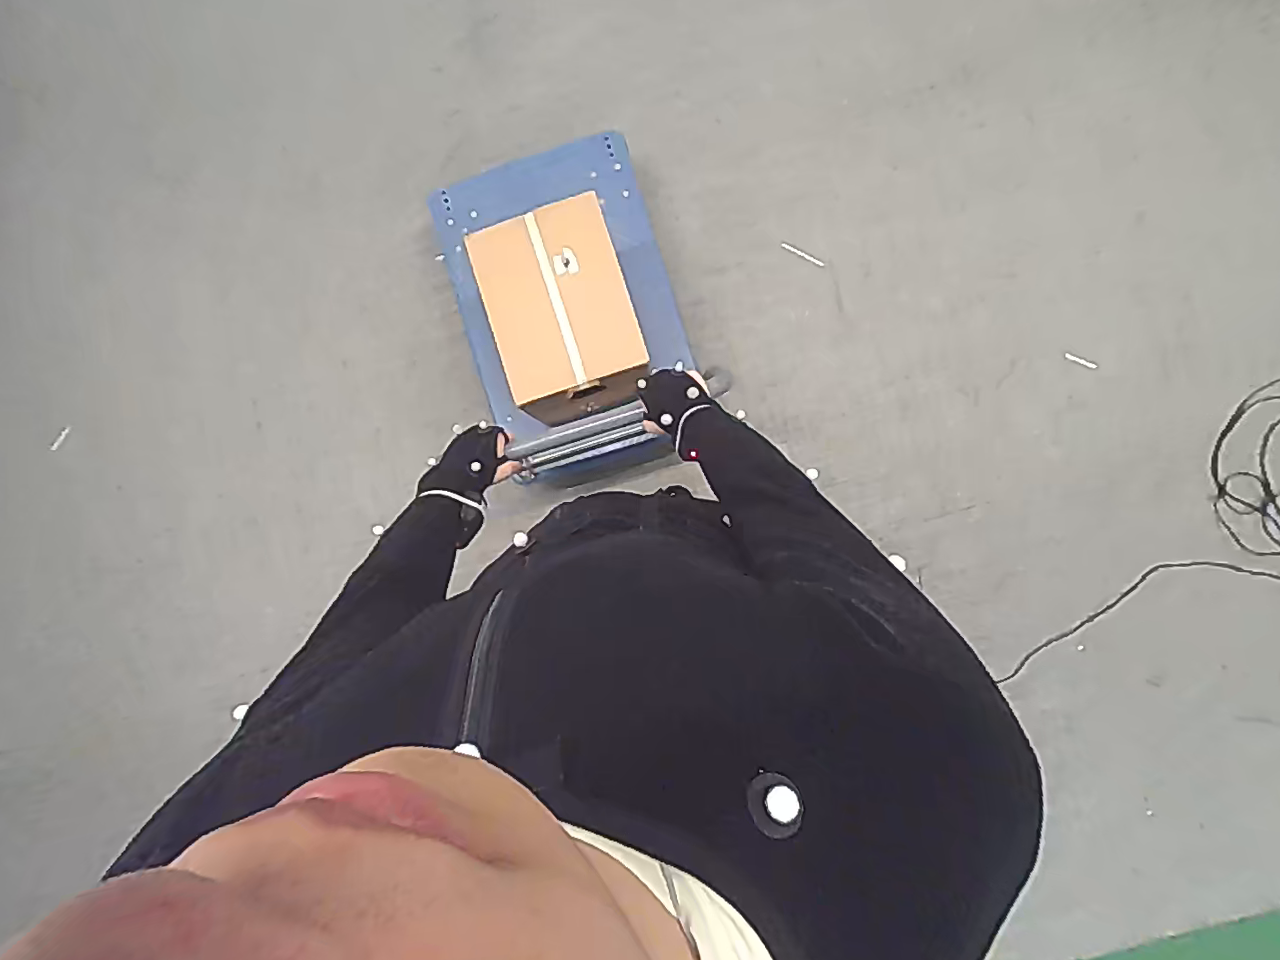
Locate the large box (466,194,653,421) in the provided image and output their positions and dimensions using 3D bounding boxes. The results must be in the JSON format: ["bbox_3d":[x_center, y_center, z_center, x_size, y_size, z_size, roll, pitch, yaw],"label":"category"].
[{"bbox_3d":[-0.177,-0.400,1.347,0.320,0.320,0.408,-18,88,2],"label":"large box"}]
